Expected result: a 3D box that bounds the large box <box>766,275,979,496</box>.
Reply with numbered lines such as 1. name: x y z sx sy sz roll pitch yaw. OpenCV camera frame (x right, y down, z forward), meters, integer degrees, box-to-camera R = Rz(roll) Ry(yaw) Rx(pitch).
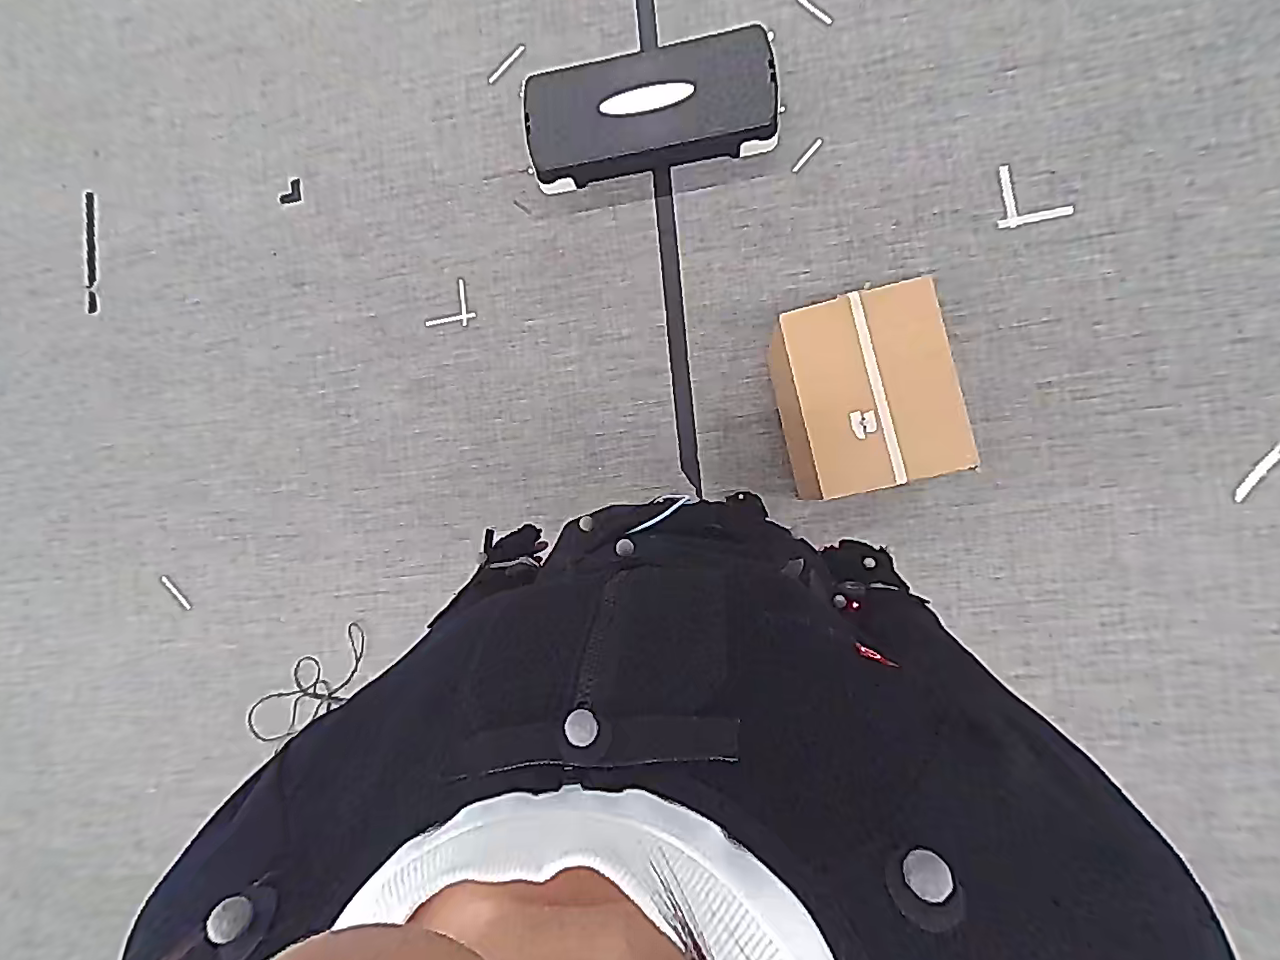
1. large box: 0.505 -0.191 1.255 0.320 0.320 0.408 -13 87 8
